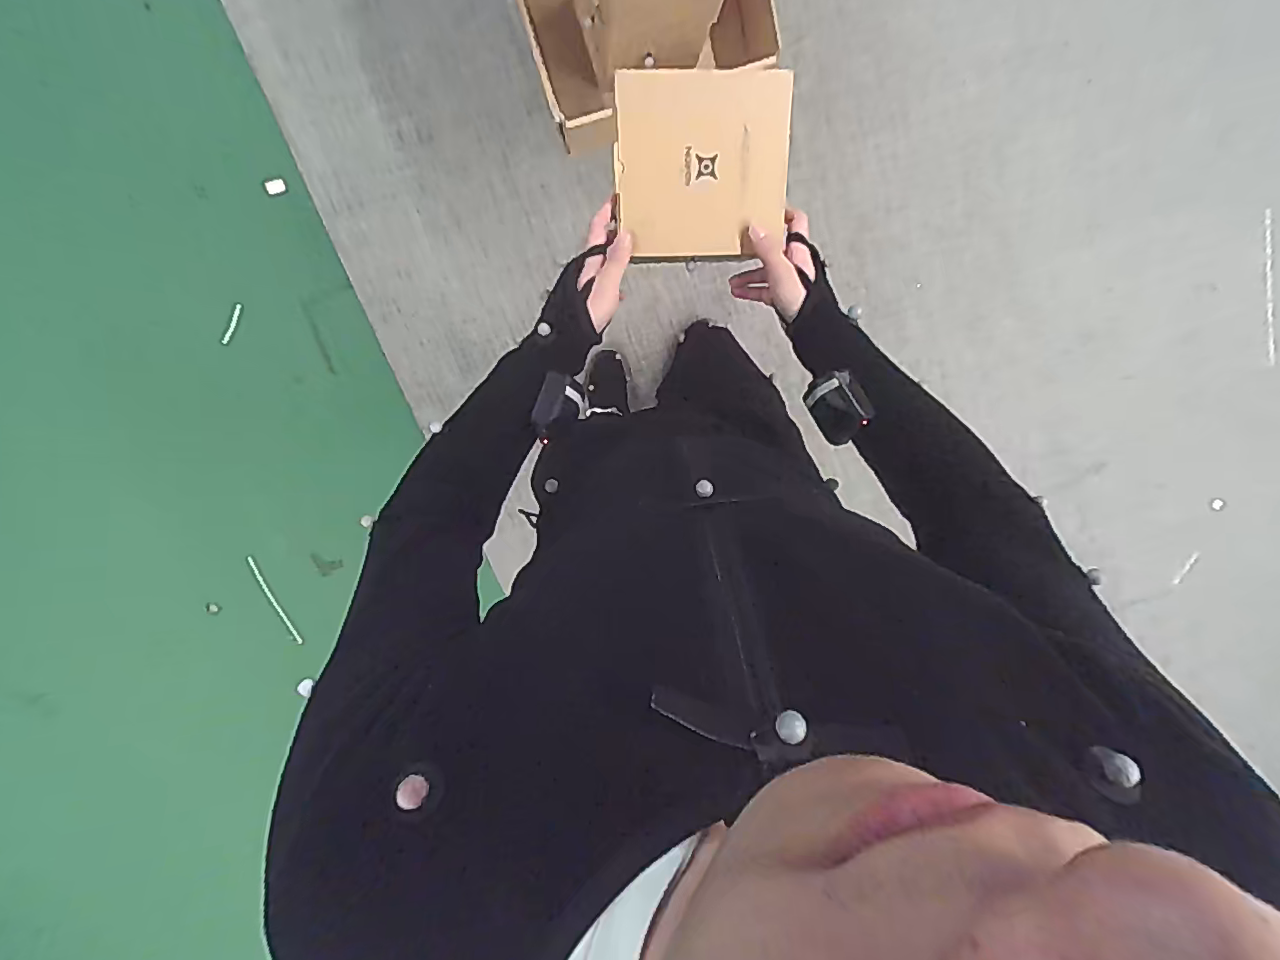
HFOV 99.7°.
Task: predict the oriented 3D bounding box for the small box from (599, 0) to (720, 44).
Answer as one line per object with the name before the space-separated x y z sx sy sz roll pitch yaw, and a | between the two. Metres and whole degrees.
small box | 0.024 -0.746 0.737 0.179 0.176 0.168 -15 105 0

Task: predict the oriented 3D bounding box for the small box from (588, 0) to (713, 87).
small box | 0.007 -0.792 0.894 0.179 0.176 0.168 -16 106 0

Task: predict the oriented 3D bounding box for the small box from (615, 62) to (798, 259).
small box | 0.060 -0.342 0.611 0.179 0.176 0.168 -2 110 -3
